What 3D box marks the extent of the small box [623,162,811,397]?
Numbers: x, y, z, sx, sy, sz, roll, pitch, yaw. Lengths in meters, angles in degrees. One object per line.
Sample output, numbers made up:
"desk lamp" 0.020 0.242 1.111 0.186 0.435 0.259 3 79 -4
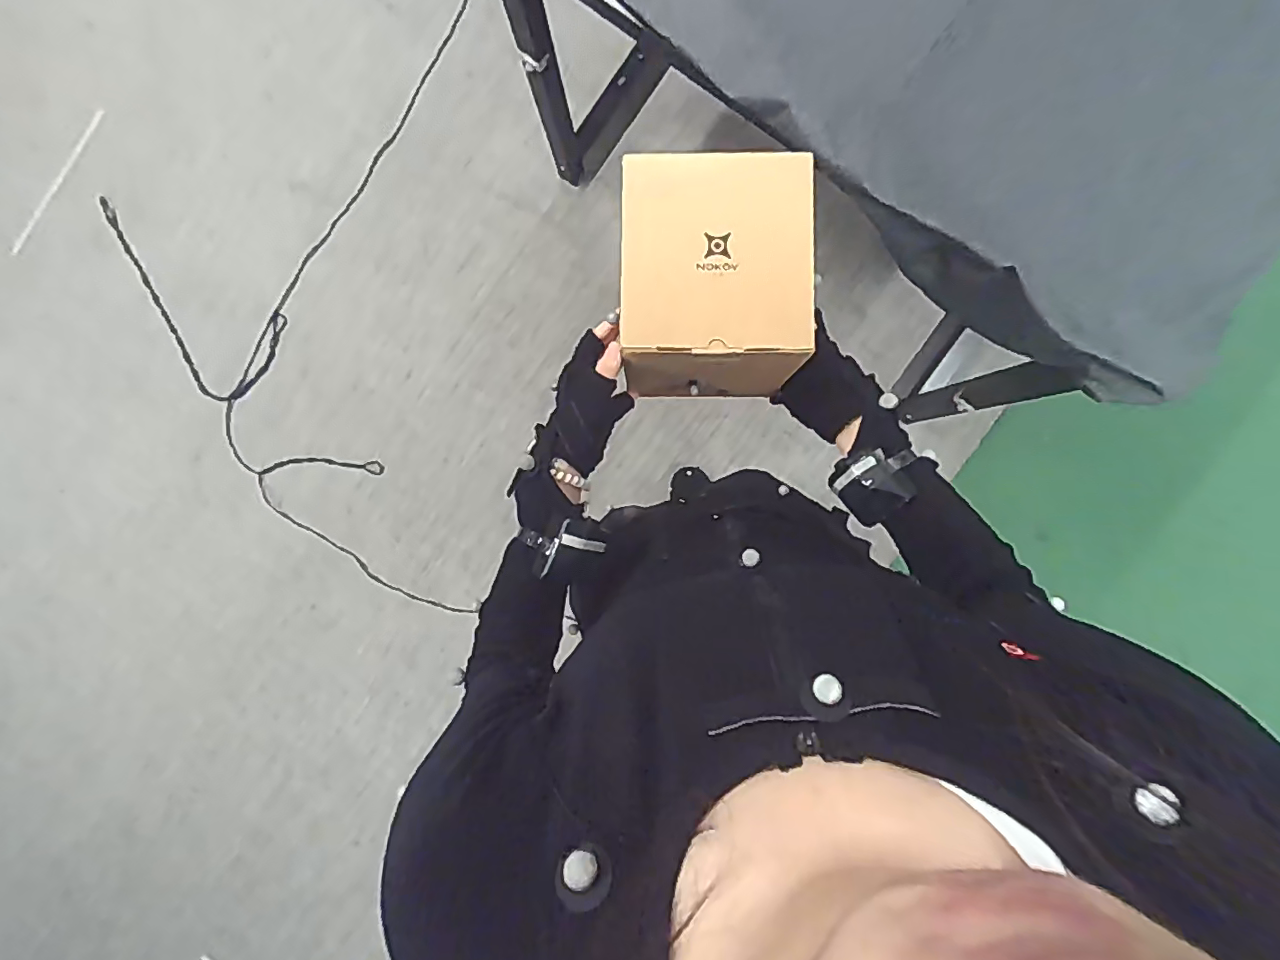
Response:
"small box" 0.069 -0.191 0.555 0.168 0.176 0.179 1 87 1
